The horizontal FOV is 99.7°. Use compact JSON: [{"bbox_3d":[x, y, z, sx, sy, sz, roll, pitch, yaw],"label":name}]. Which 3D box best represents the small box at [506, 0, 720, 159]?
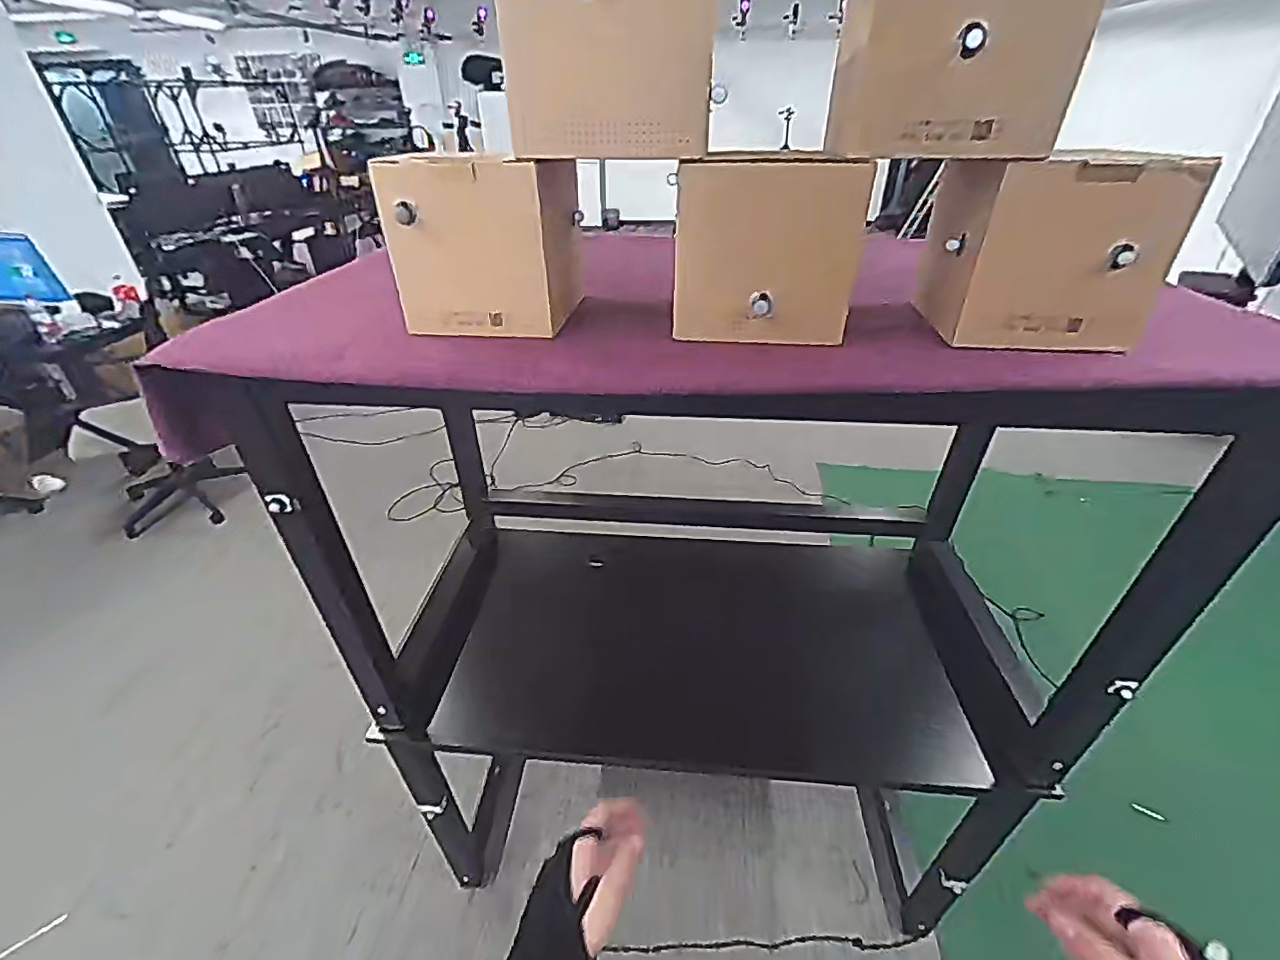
[{"bbox_3d":[-0.018,-0.399,0.503,0.179,0.176,0.168,4,34,6],"label":"small box"}]

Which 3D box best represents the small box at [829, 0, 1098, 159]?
[{"bbox_3d":[0.274,-0.387,0.481,0.168,0.176,0.179,5,34,8],"label":"small box"}]

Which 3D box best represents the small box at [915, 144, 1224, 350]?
[{"bbox_3d":[0.407,-0.242,0.556,0.168,0.176,0.179,5,33,9],"label":"small box"}]
